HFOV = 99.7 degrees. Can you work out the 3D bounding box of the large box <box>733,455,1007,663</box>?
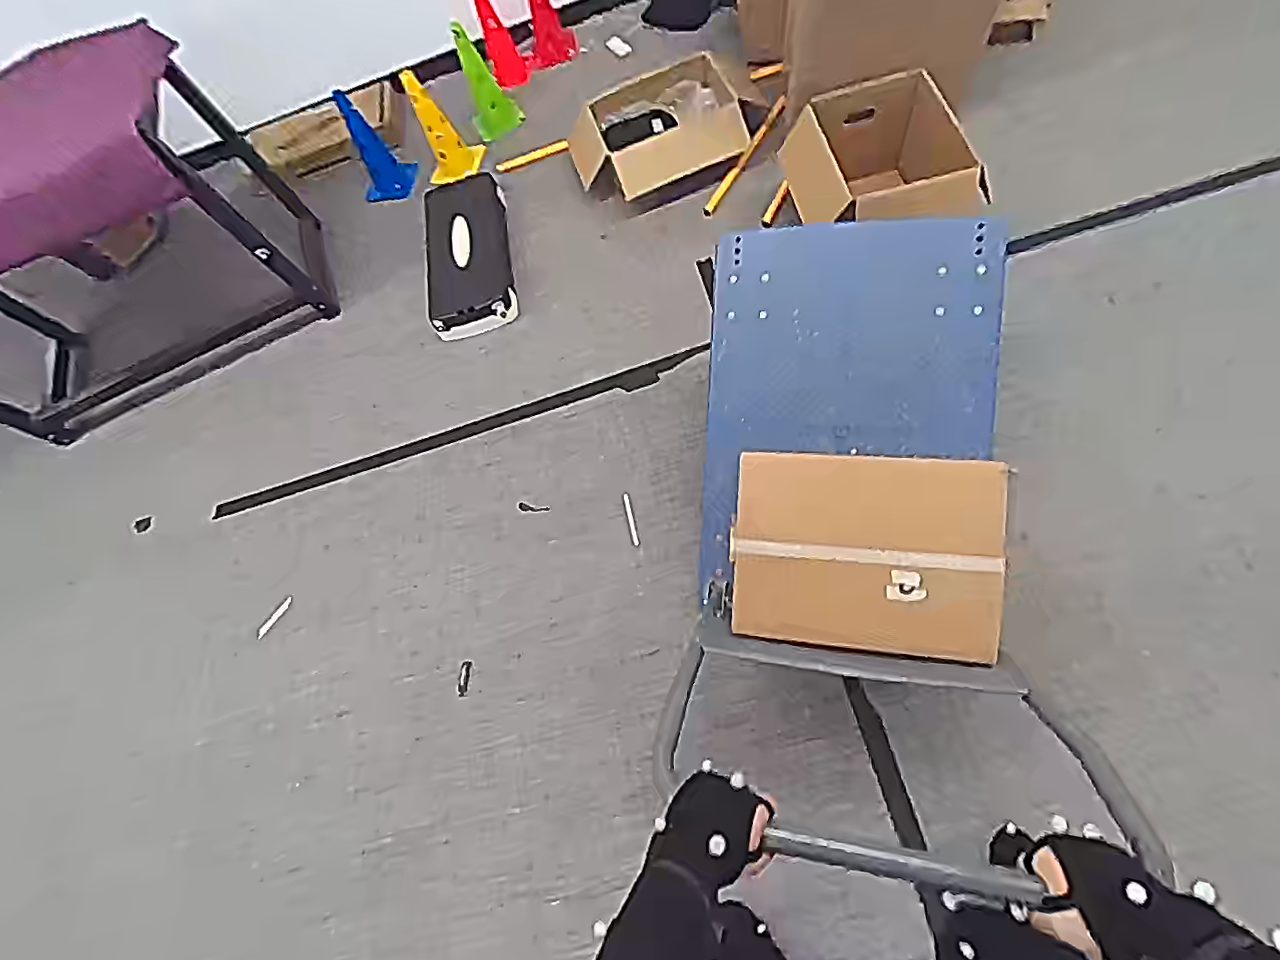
[{"bbox_3d":[0.387,0.117,1.006,0.408,0.320,0.320,3,93,14],"label":"large box"}]
